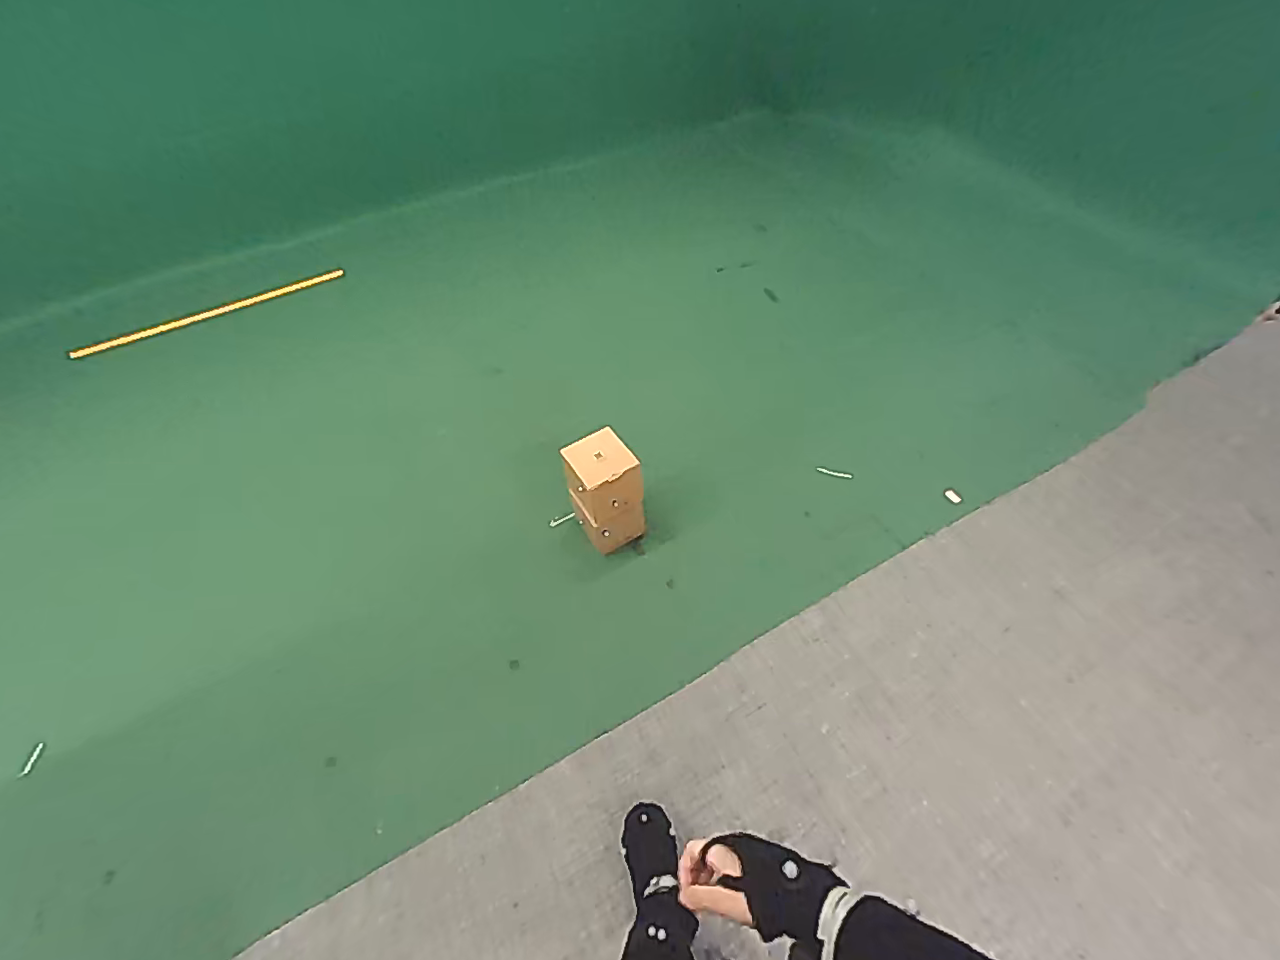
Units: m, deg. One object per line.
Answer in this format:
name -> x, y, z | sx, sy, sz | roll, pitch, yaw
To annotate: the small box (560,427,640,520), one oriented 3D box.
small box -> -0.112, -0.016, 1.569 | 0.168, 0.176, 0.179 | -28, 56, -18
